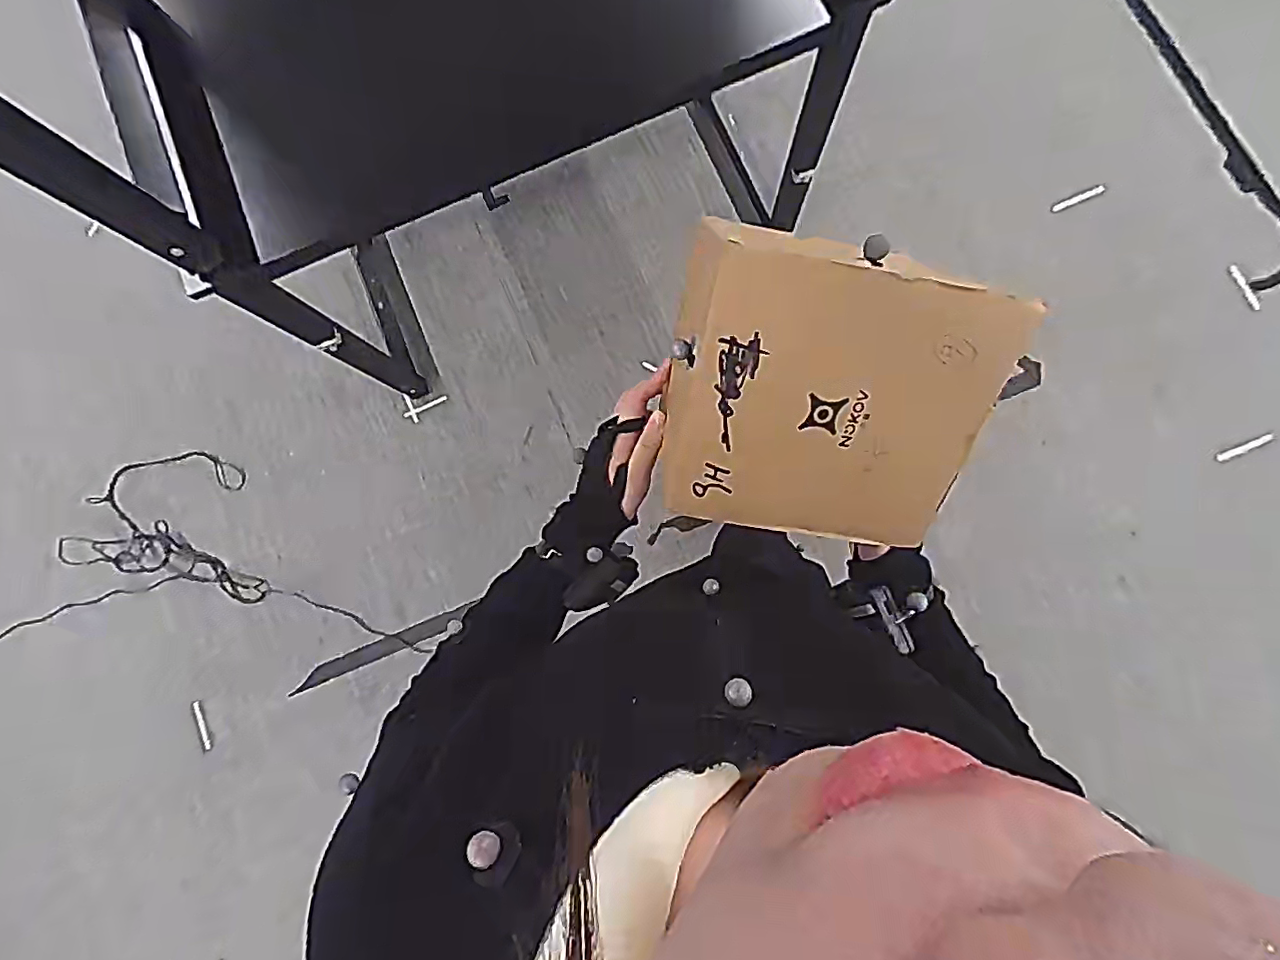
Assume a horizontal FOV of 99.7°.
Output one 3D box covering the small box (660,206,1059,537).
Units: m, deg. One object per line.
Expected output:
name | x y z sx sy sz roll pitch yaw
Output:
small box | 0.116 -0.084 0.376 0.179 0.176 0.168 9 119 -5
